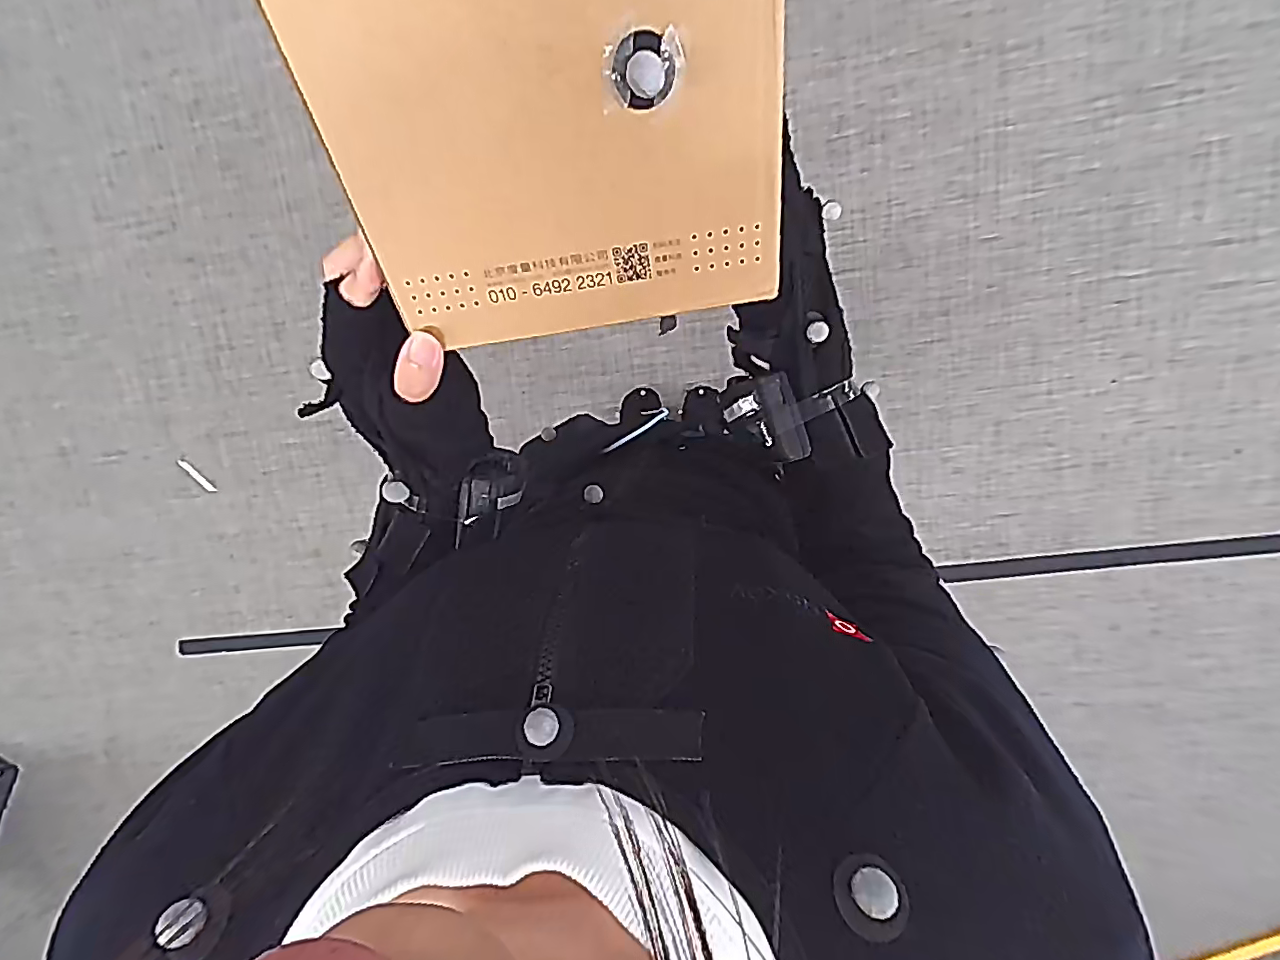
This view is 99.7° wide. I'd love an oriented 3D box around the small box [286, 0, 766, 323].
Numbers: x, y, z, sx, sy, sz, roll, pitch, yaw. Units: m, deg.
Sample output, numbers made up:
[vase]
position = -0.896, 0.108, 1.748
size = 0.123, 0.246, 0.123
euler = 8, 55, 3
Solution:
[small box]
position = -0.032, -0.189, 0.272
size = 0.168, 0.179, 0.176
euler = -7, 130, 5
